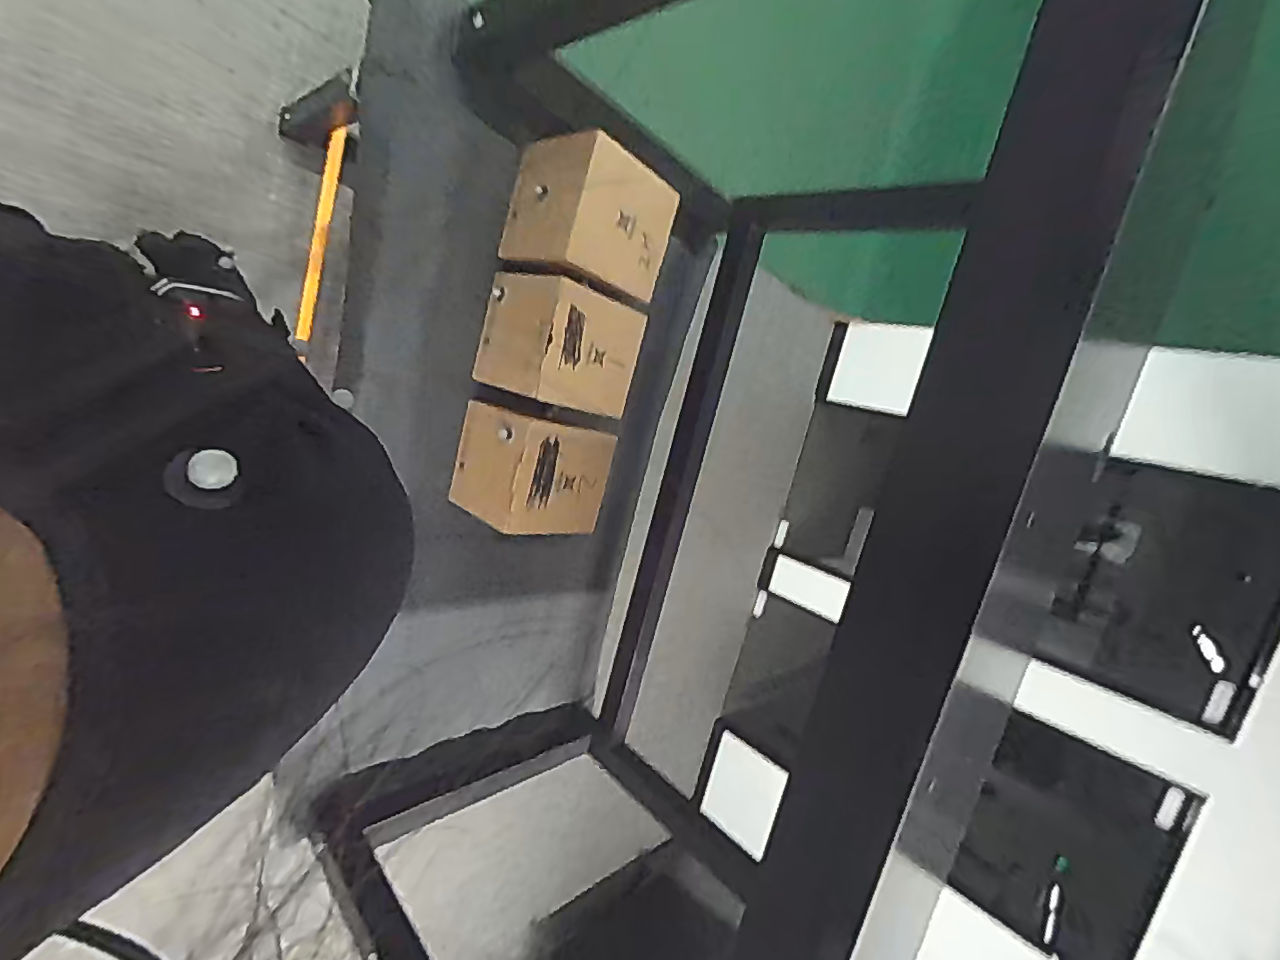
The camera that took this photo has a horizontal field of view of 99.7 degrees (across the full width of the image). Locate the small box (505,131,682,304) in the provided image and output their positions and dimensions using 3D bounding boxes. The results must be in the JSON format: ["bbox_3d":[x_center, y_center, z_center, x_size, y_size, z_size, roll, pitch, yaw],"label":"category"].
[{"bbox_3d":[-0.072,-0.376,0.801,0.179,0.176,0.168,9,101,-49],"label":"small box"}]
